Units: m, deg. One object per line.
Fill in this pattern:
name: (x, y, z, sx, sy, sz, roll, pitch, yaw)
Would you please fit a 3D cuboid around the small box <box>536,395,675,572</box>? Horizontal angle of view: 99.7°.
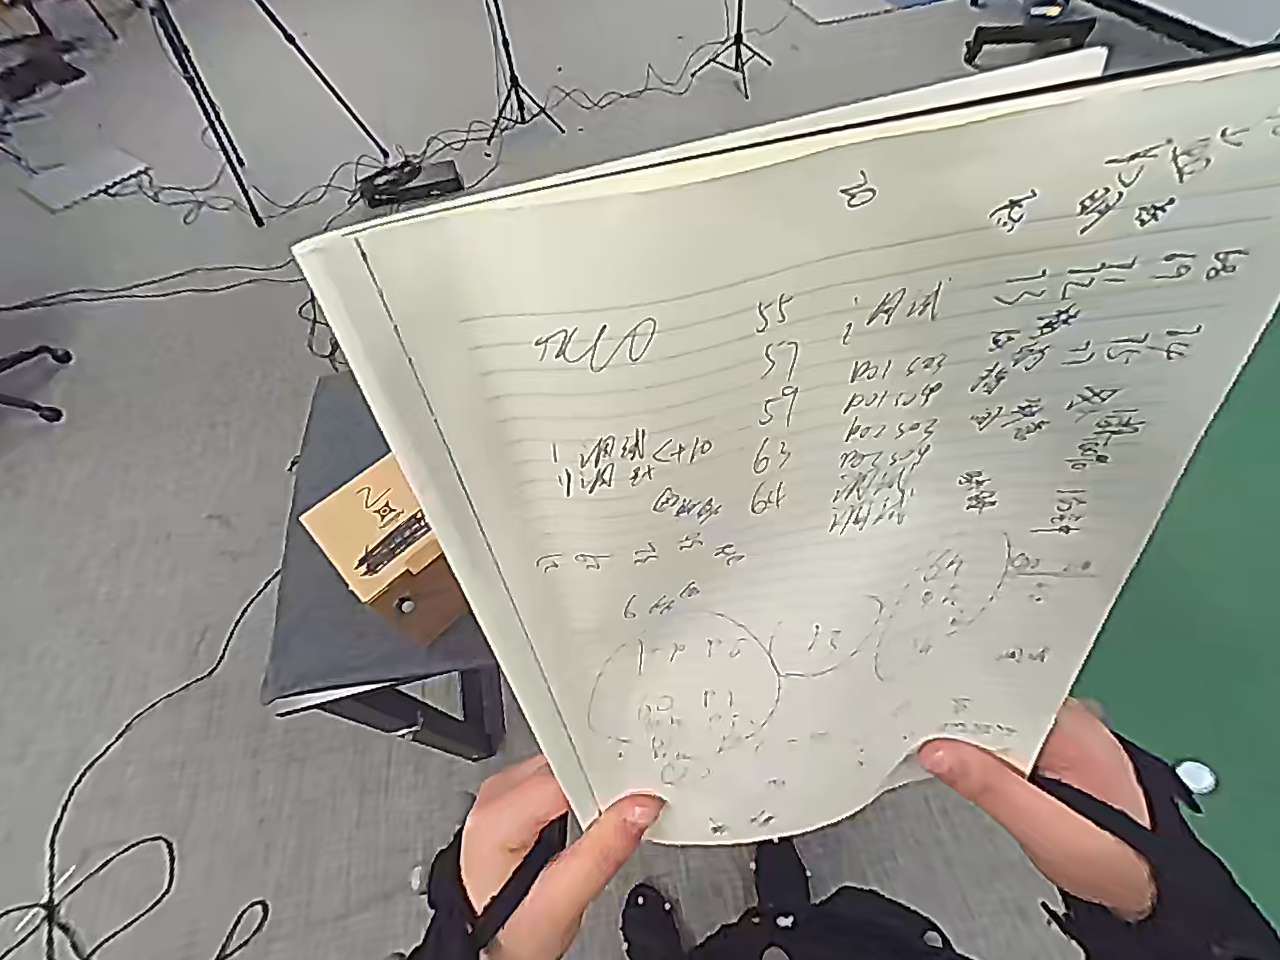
small box: (-0.048, 0.008, 0.781, 0.168, 0.176, 0.179, -11, 55, -1)
